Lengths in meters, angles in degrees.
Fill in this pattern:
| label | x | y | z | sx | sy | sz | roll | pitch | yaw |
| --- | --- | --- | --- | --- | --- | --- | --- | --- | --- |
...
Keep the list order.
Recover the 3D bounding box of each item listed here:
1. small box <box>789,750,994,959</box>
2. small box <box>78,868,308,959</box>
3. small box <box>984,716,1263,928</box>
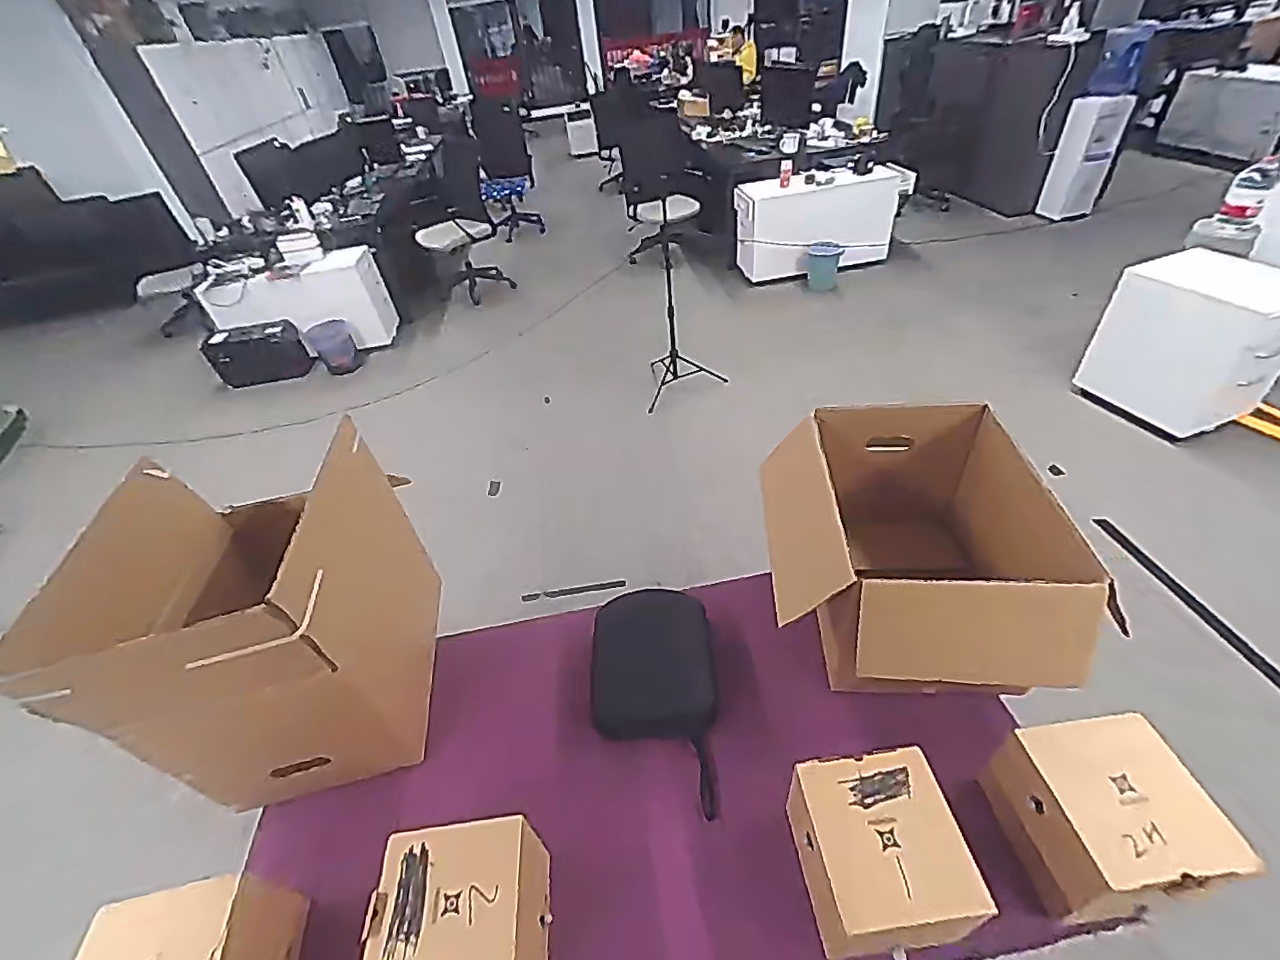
| label | x | y | z | sx | sy | sz | roll | pitch | yaw |
| --- | --- | --- | --- | --- | --- | --- | --- | --- | --- |
| small box | 0.295 | 0.474 | 0.685 | 0.168 | 0.176 | 0.179 | -9 | 41 | 1 |
| small box | -0.558 | 0.619 | 0.668 | 0.179 | 0.176 | 0.168 | -11 | 41 | -5 |
| small box | 0.576 | 0.429 | 0.683 | 0.168 | 0.176 | 0.179 | -9 | 40 | 1 |
